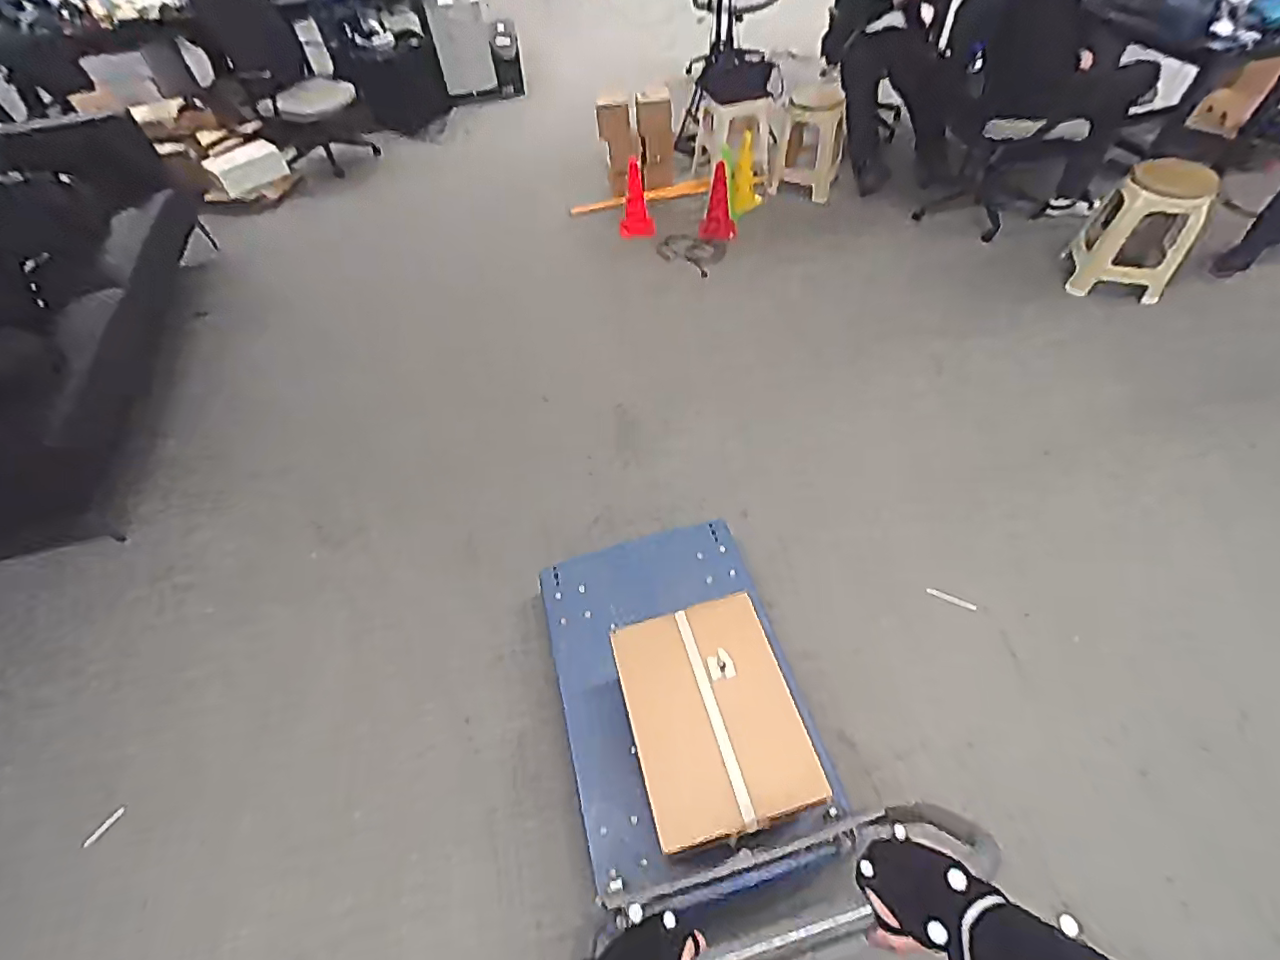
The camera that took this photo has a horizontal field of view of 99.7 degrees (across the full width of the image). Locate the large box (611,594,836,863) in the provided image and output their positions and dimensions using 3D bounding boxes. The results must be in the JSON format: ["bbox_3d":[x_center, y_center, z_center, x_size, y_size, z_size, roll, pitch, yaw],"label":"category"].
[{"bbox_3d":[0.152,0.523,1.146,0.320,0.320,0.408,-14,52,-7],"label":"large box"}]
